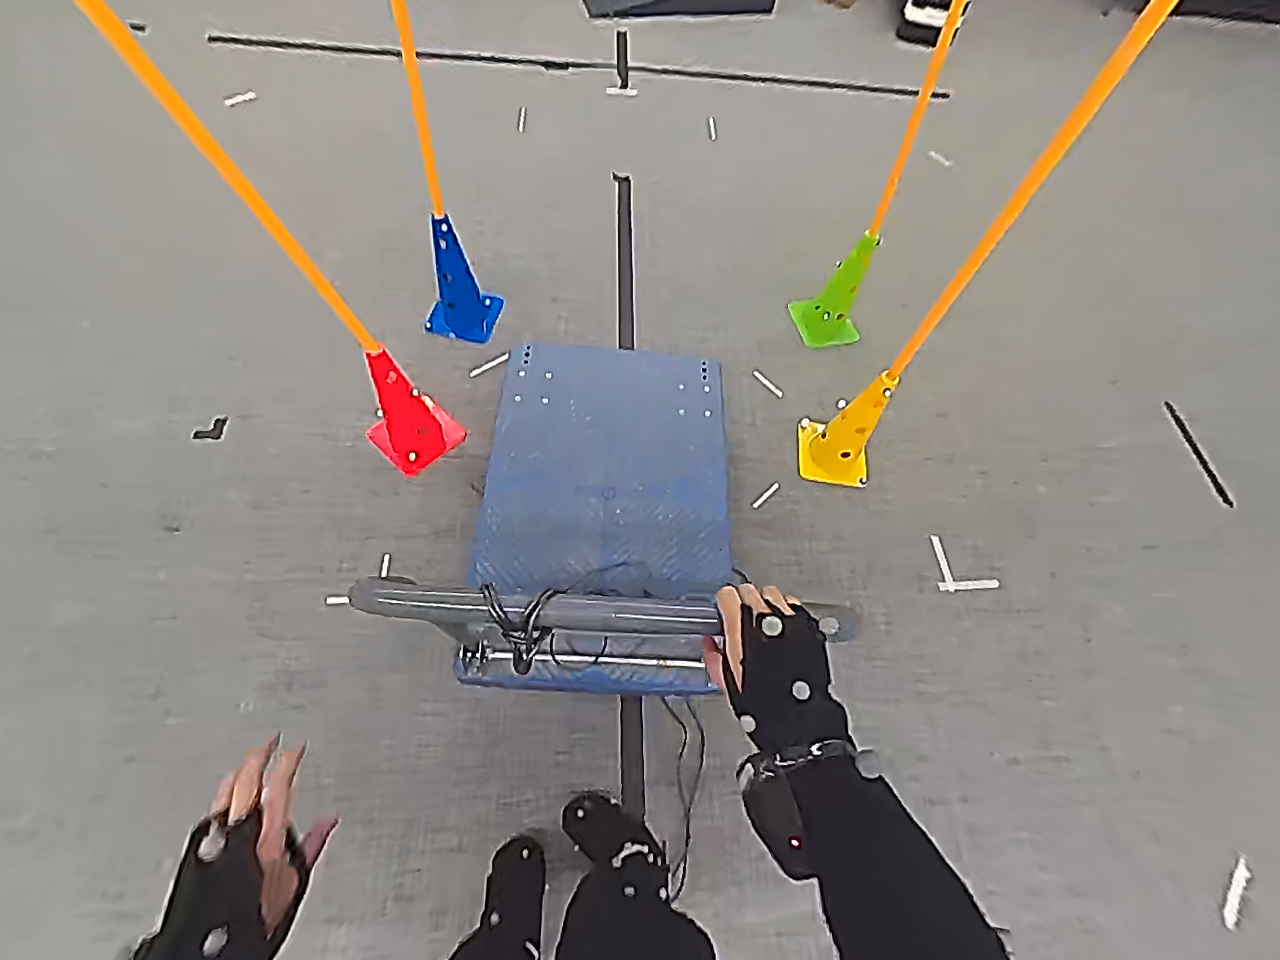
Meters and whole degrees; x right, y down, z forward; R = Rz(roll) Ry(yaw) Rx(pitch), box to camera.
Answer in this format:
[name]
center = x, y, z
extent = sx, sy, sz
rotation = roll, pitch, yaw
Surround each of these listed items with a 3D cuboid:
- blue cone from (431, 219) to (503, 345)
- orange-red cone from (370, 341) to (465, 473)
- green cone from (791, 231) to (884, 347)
[blue cone]
center = -0.529, -0.588, 1.562
extent = 0.193, 0.380, 0.192
rotation = 14, 63, 1
[orange-red cone]
center = -0.593, -0.210, 1.339
extent = 0.198, 0.360, 0.199
rotation = 42, 64, 15
[green cone]
center = 0.646, -0.614, 1.683
extent = 0.200, 0.368, 0.202
rotation = -11, 65, -12
